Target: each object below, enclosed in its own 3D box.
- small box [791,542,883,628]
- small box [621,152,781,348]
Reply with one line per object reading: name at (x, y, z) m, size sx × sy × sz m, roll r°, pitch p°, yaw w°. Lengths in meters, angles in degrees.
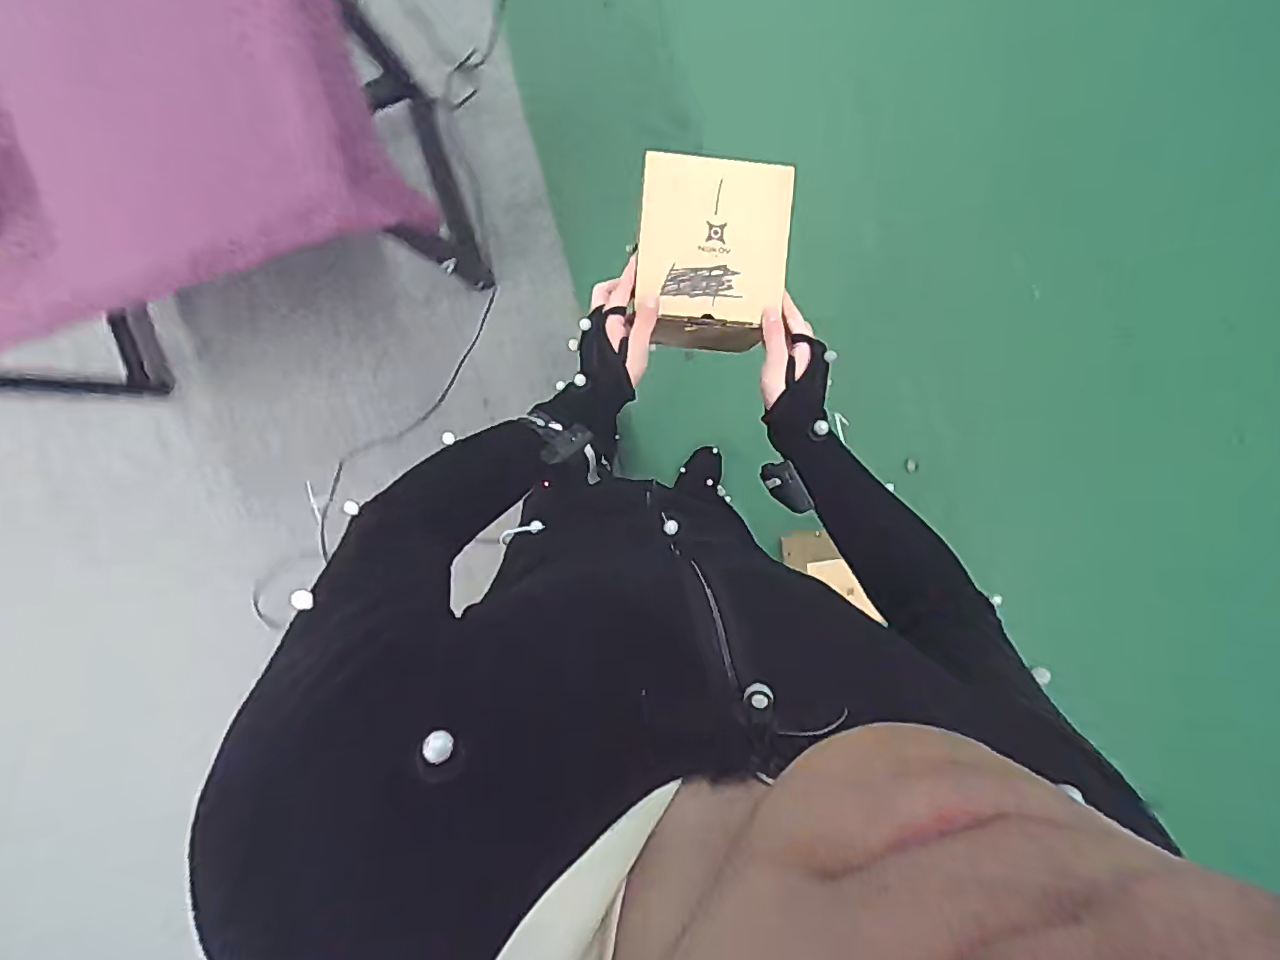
small box at (0.496, 0.260, 1.378) m, size 0.179 × 0.176 × 0.168 m, roll -7°, pitch 96°, yaw 5°
small box at (0.064, -0.266, 0.667) m, size 0.168 × 0.176 × 0.179 m, roll 3°, pitch 93°, yaw -3°
